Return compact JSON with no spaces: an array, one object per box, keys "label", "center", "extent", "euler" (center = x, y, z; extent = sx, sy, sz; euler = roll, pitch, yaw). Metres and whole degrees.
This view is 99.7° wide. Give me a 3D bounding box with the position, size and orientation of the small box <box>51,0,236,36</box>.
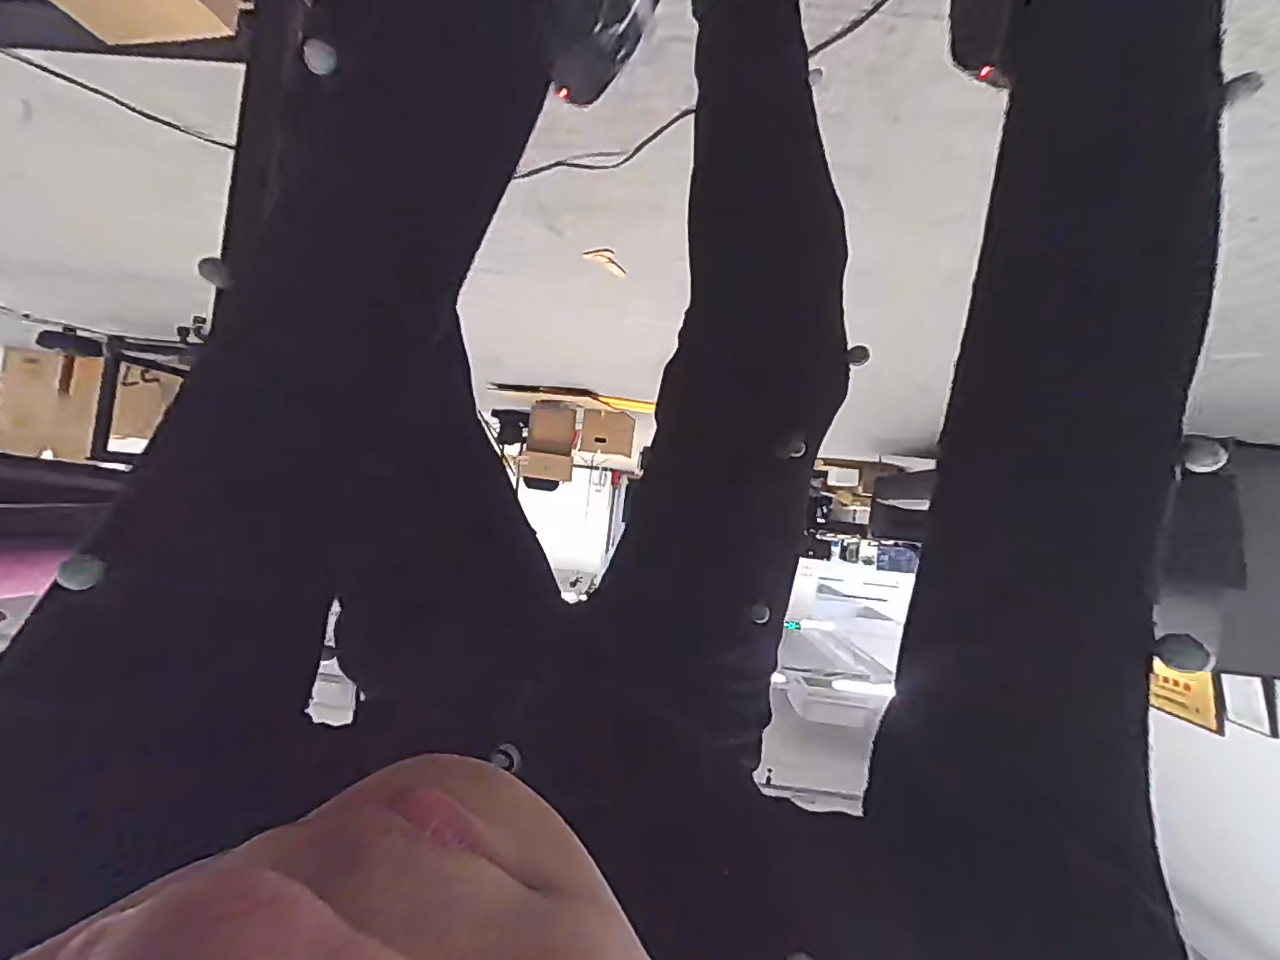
[{"label":"small box","center":[-0.506,-0.556,0.490],"extent":[0.179,0.176,0.168],"euler":[6,178,11]}]
